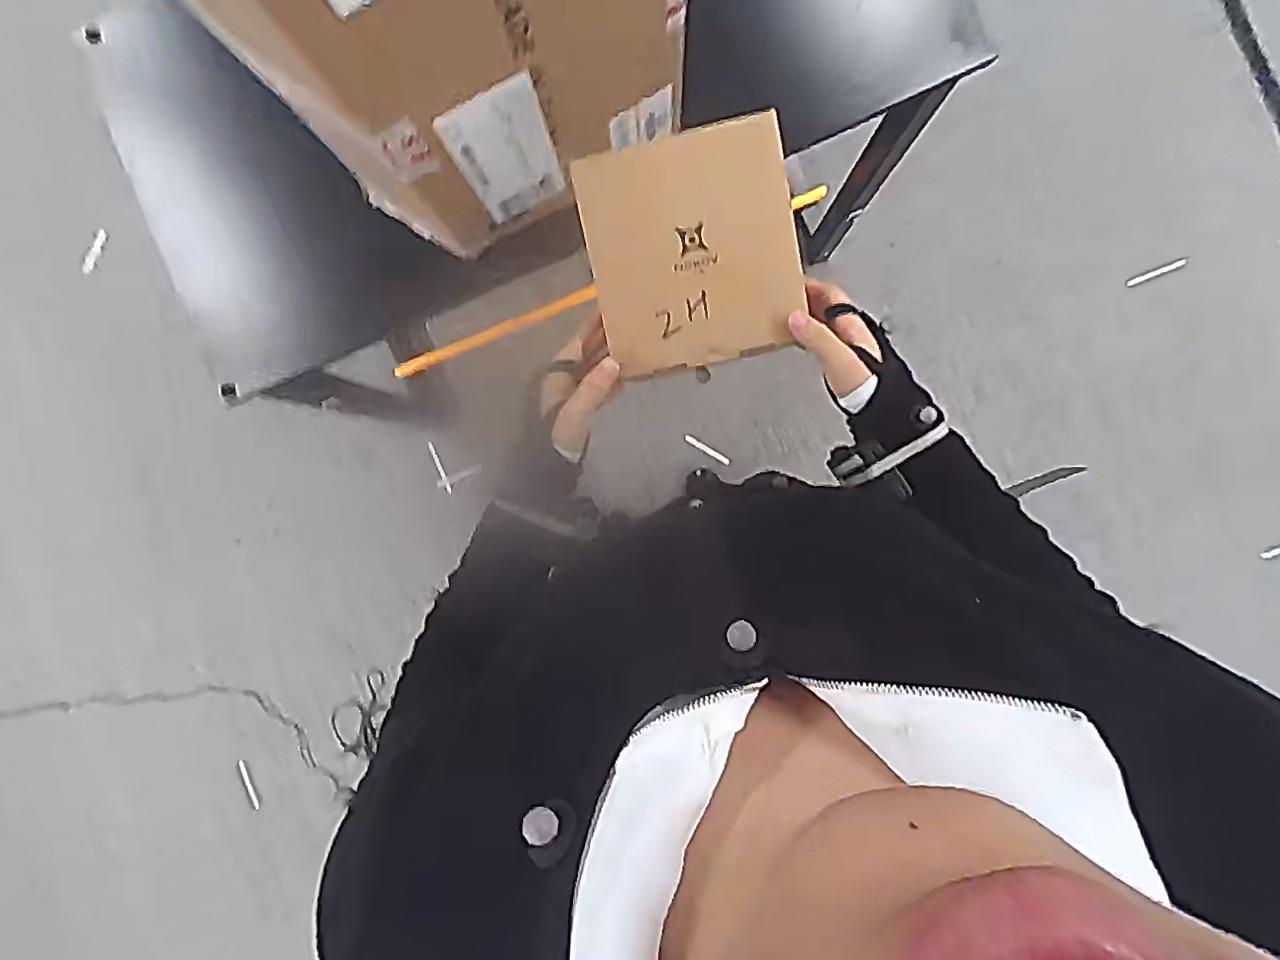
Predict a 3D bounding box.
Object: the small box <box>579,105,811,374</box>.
[{"bbox_3d":[0.048,-0.205,0.513,0.168,0.176,0.179,-11,98,4],"label":"small box"}]
